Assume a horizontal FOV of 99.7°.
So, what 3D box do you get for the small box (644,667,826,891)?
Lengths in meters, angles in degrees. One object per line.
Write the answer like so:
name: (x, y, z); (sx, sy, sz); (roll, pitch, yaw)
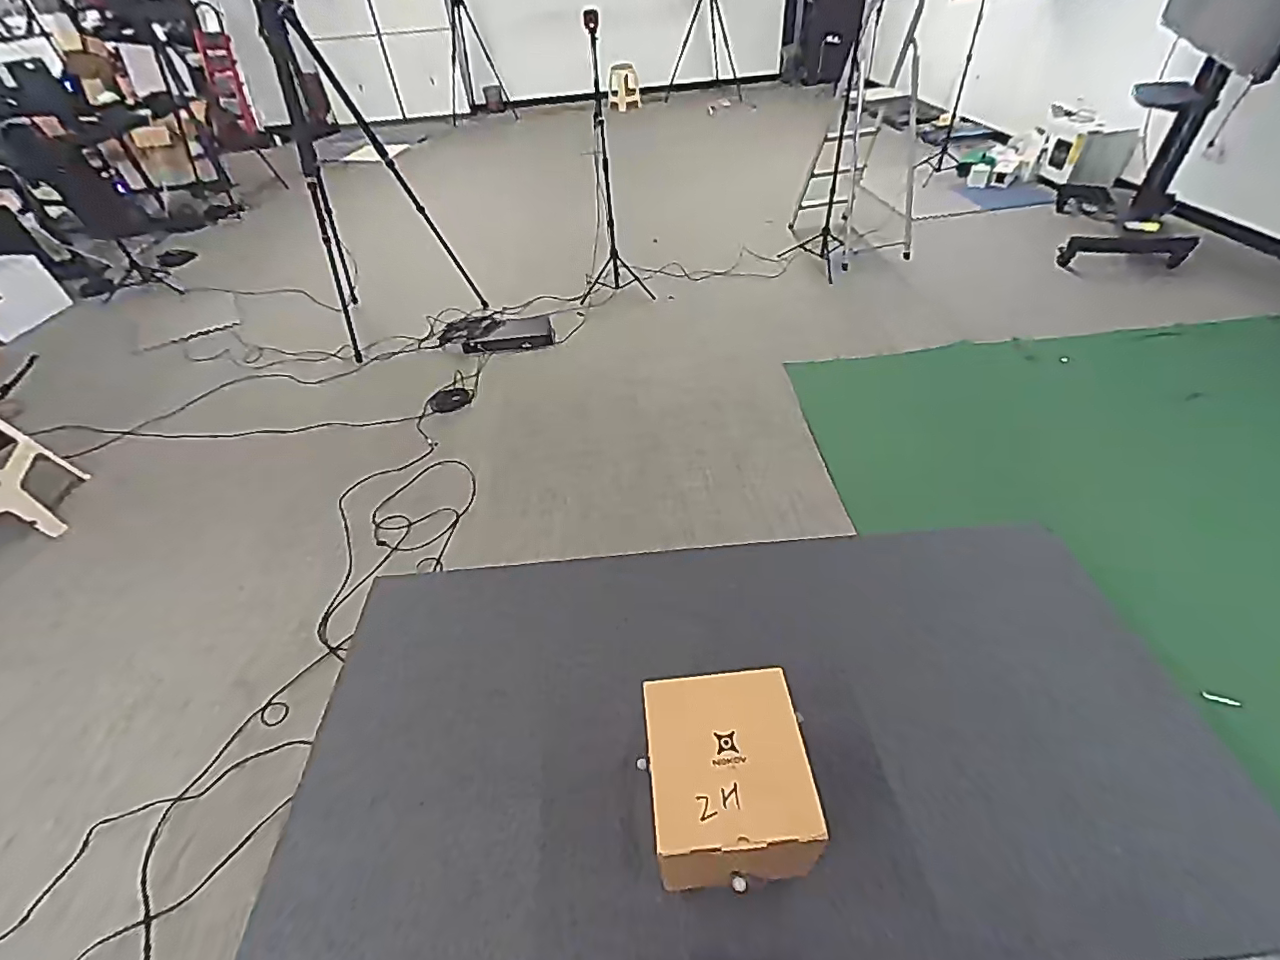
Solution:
small box: (0.095, 0.344, 0.624); (0.168, 0.176, 0.179); (-6, 43, 0)
